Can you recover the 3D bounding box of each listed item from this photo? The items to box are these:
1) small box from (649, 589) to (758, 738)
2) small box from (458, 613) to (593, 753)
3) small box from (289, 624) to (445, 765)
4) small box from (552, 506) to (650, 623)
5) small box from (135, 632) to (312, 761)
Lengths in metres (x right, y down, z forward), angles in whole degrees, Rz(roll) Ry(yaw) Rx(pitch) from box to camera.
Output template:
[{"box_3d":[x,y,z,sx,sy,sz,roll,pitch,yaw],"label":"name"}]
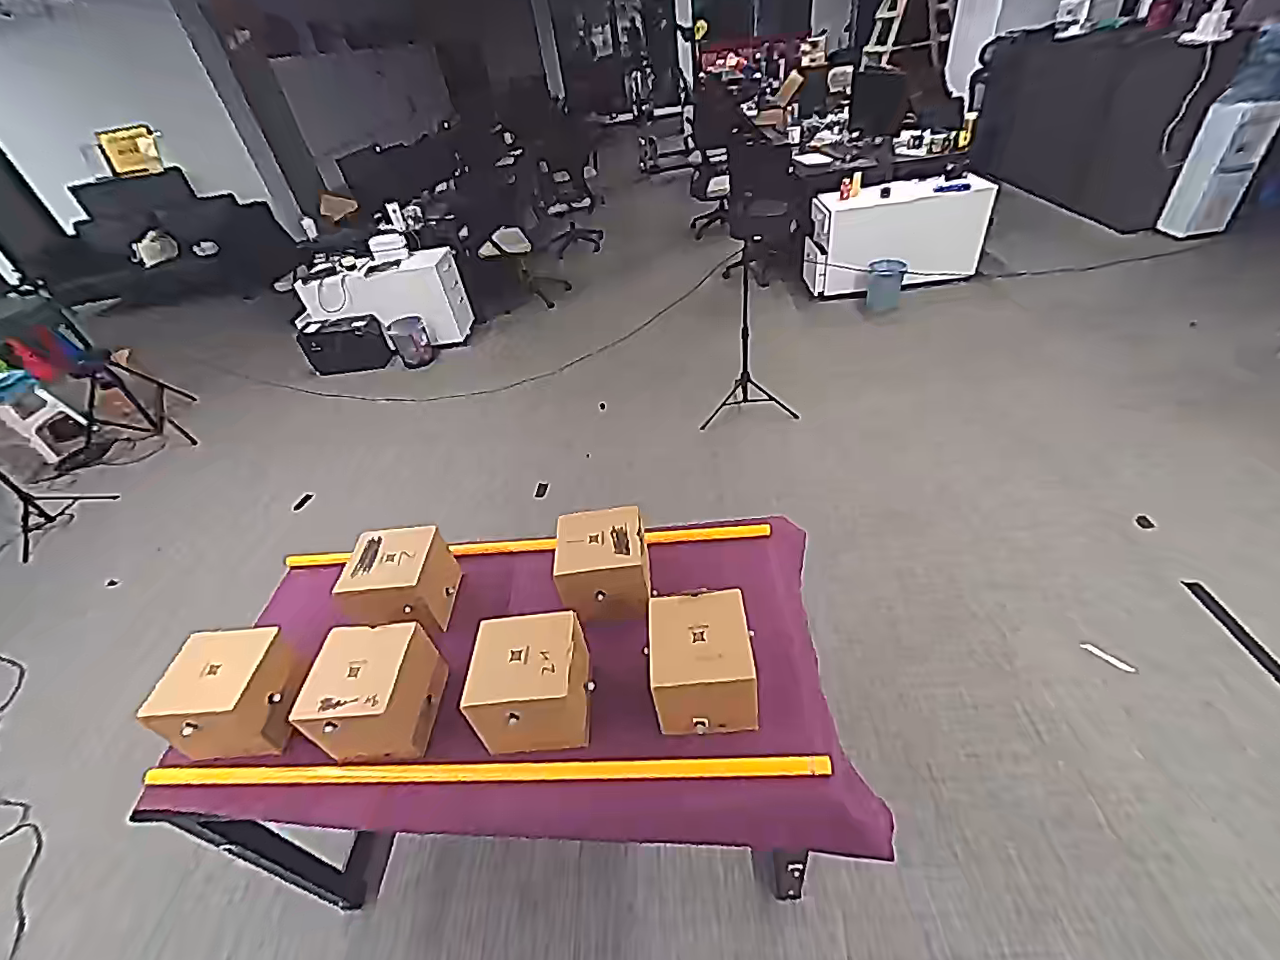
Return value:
[{"box_3d":[0.106,0.315,0.932,0.168,0.176,0.179,-8,38,6],"label":"small box"},{"box_3d":[-0.188,0.357,0.946,0.179,0.176,0.168,-7,39,5],"label":"small box"},{"box_3d":[-0.473,0.385,0.974,0.168,0.176,0.179,-7,40,6],"label":"small box"},{"box_3d":[-0.074,0.179,1.132,0.179,0.176,0.168,-8,41,4],"label":"small box"},{"box_3d":[-0.750,0.405,1.008,0.179,0.176,0.168,-6,40,5],"label":"small box"}]
